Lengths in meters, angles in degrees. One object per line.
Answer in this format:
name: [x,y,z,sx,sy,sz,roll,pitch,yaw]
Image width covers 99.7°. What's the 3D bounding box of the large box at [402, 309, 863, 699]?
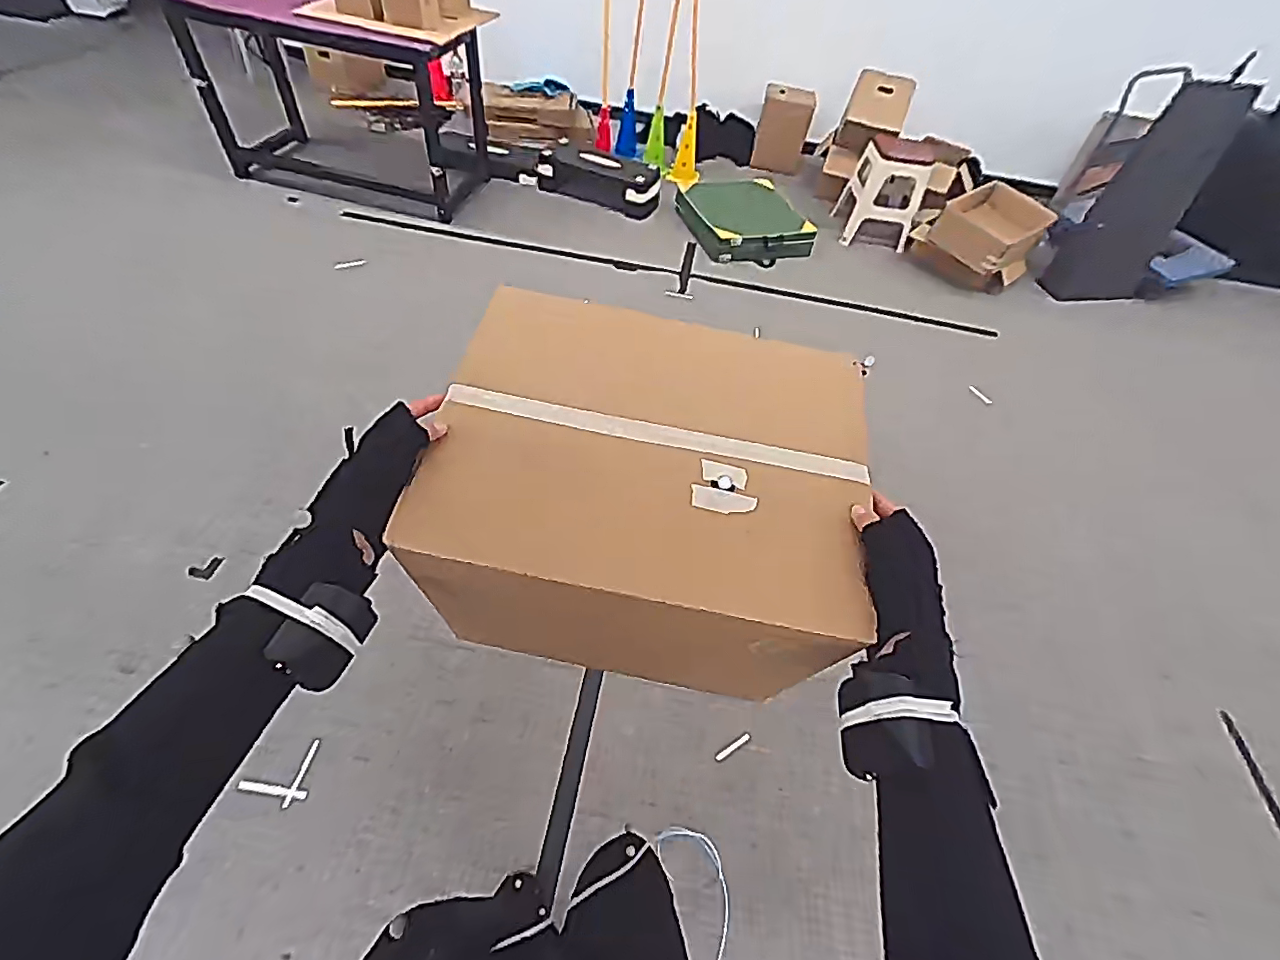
large box: [-0.001,0.047,0.655,0.408,0.320,0.320,12,59,0]
